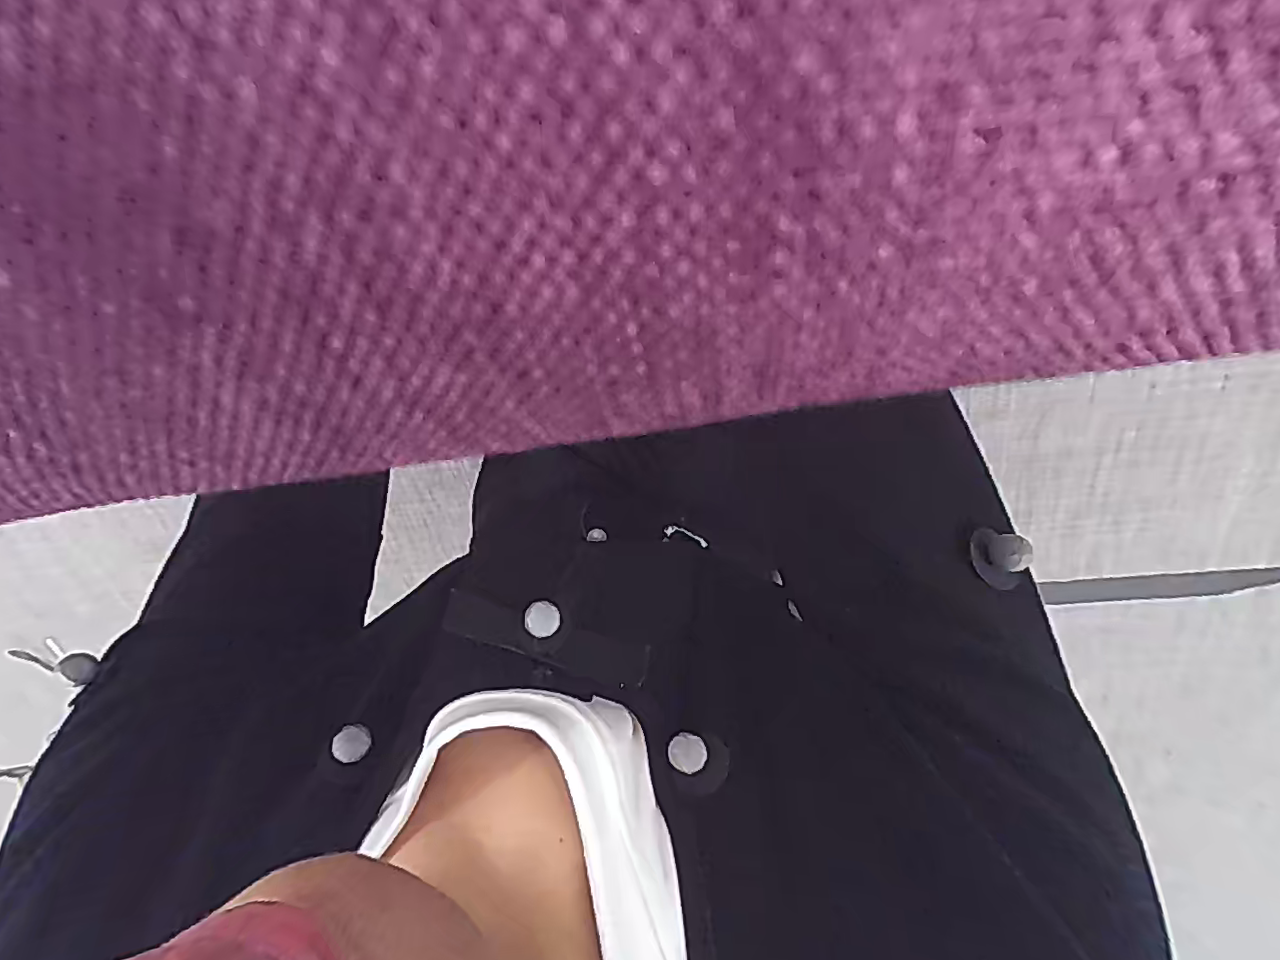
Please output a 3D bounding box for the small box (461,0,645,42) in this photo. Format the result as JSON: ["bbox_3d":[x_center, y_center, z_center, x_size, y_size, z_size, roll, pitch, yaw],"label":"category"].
[{"bbox_3d":[-0.086,-0.471,0.402,0.168,0.176,0.179,-8,117,11],"label":"small box"}]
